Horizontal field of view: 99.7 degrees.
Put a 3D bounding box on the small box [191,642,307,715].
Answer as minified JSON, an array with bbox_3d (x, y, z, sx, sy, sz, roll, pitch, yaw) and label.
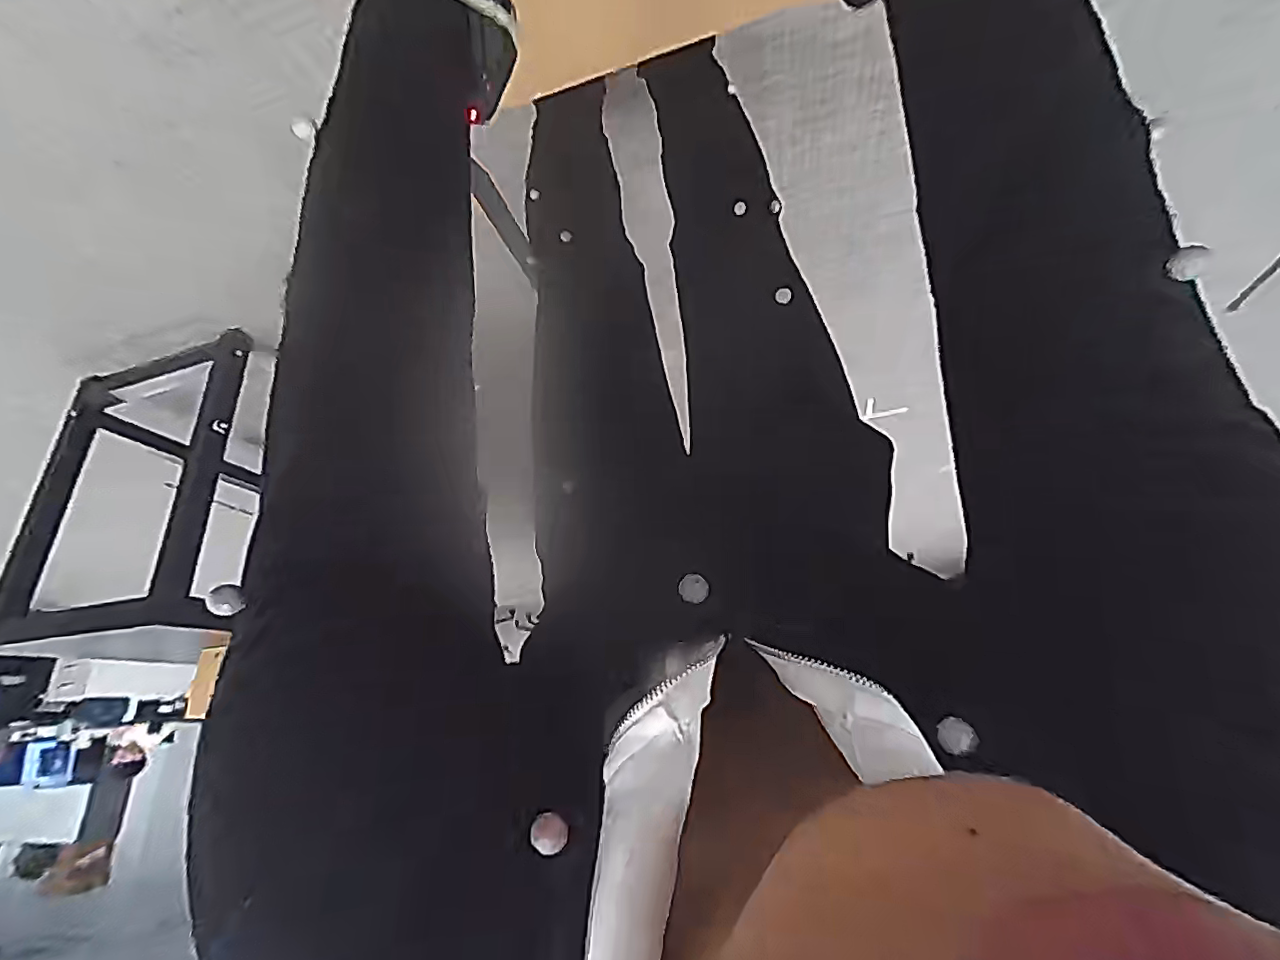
[{"bbox_3d":[-1.027,0.526,1.435,0.168,0.176,0.179,-10,157,14],"label":"small box"}]
